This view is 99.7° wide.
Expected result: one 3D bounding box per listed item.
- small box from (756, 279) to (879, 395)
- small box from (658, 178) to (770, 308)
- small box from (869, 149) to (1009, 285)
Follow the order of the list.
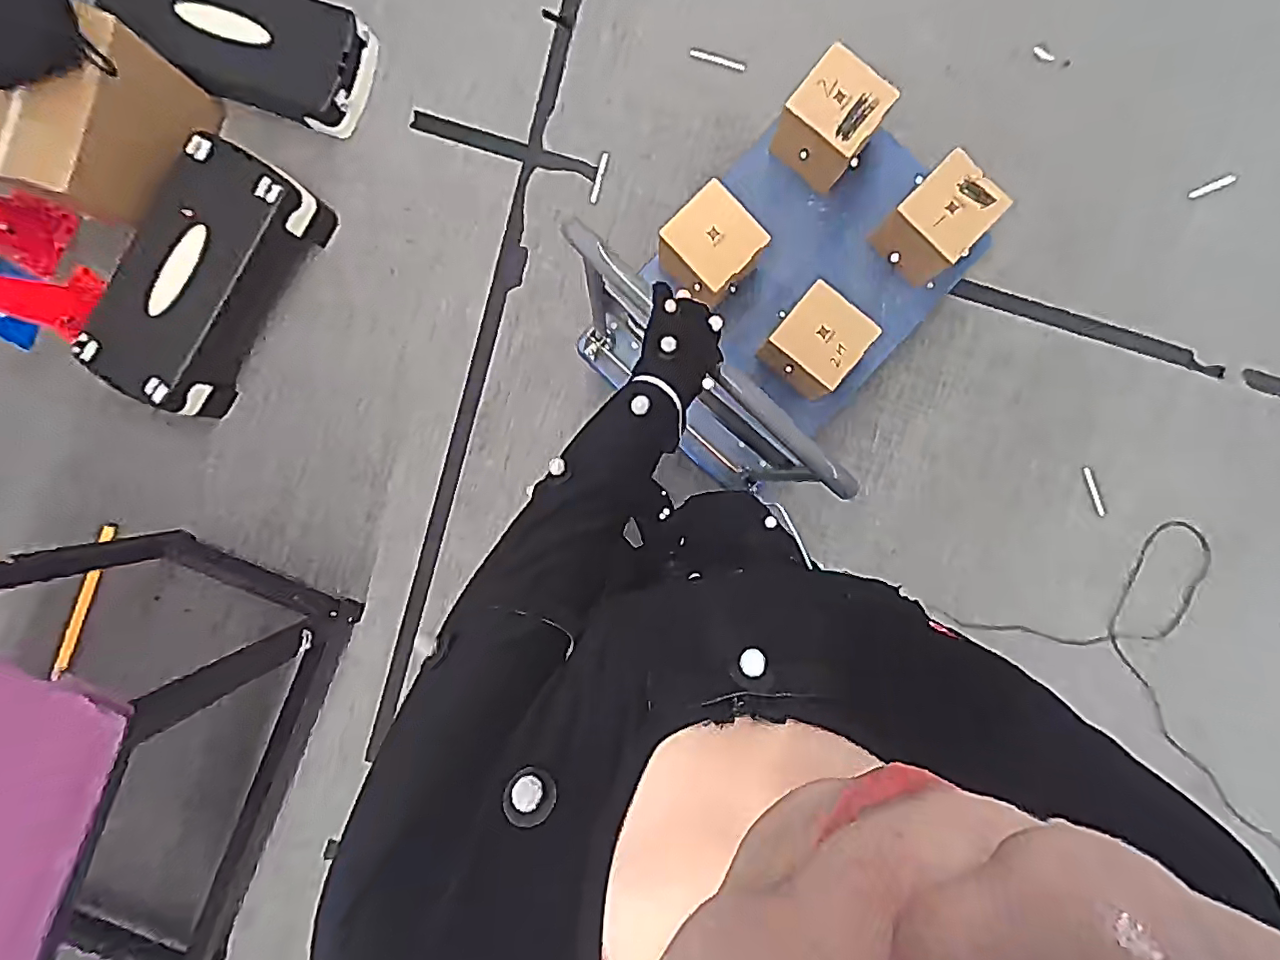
[{"bbox_3d":[0.384,-0.308,1.208,0.179,0.176,0.168,40,93,-1],"label":"small box"},{"bbox_3d":[0.154,-0.515,1.203,0.168,0.176,0.179,-44,93,2],"label":"small box"},{"bbox_3d":[0.646,-0.568,1.192,0.168,0.176,0.179,45,94,-1],"label":"small box"}]
